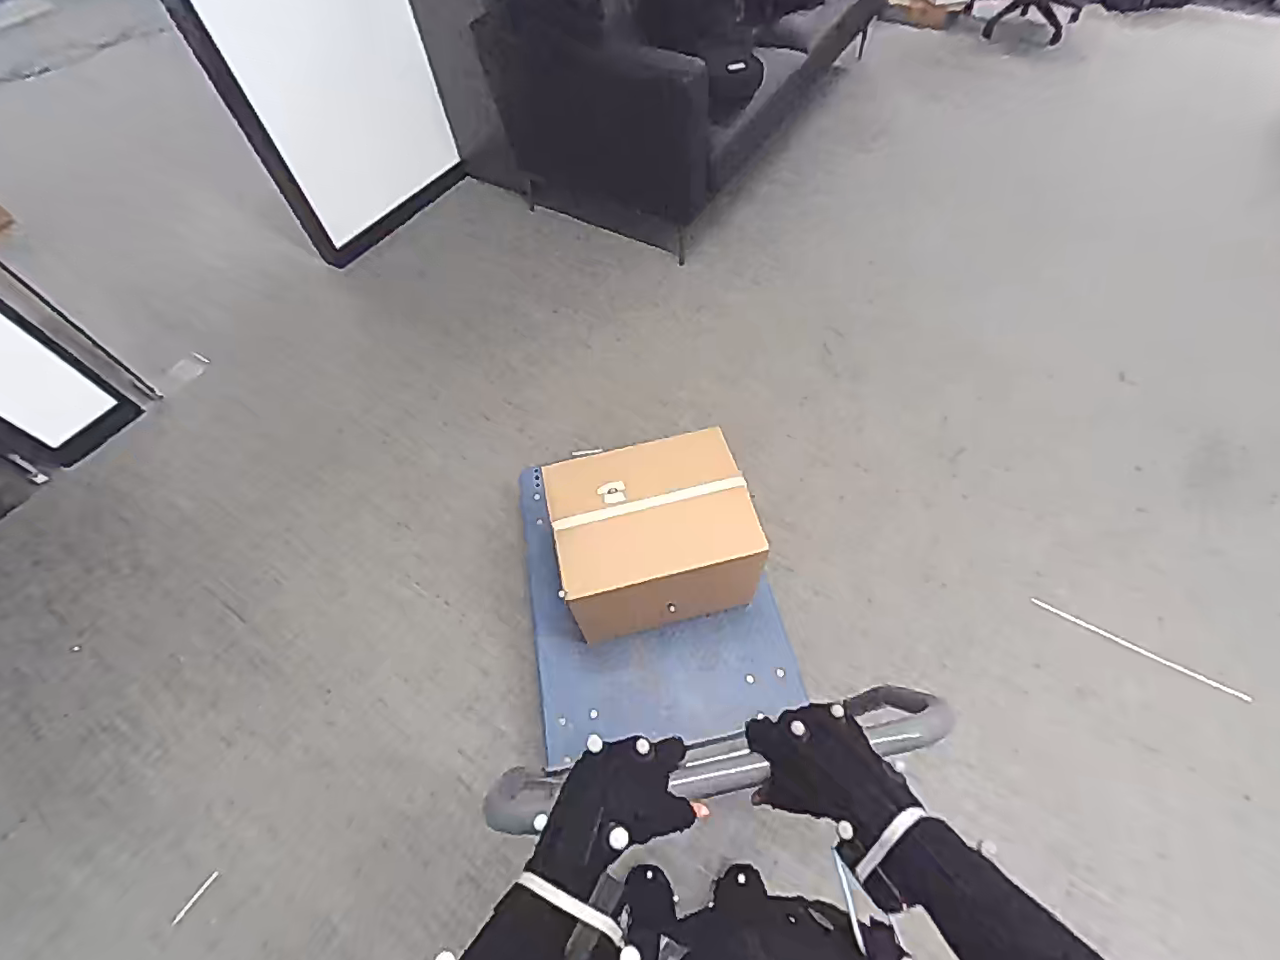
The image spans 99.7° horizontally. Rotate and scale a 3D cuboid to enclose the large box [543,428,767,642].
[{"bbox_3d":[0.029,0.133,1.232,0.408,0.320,0.320,-14,58,-5],"label":"large box"}]
